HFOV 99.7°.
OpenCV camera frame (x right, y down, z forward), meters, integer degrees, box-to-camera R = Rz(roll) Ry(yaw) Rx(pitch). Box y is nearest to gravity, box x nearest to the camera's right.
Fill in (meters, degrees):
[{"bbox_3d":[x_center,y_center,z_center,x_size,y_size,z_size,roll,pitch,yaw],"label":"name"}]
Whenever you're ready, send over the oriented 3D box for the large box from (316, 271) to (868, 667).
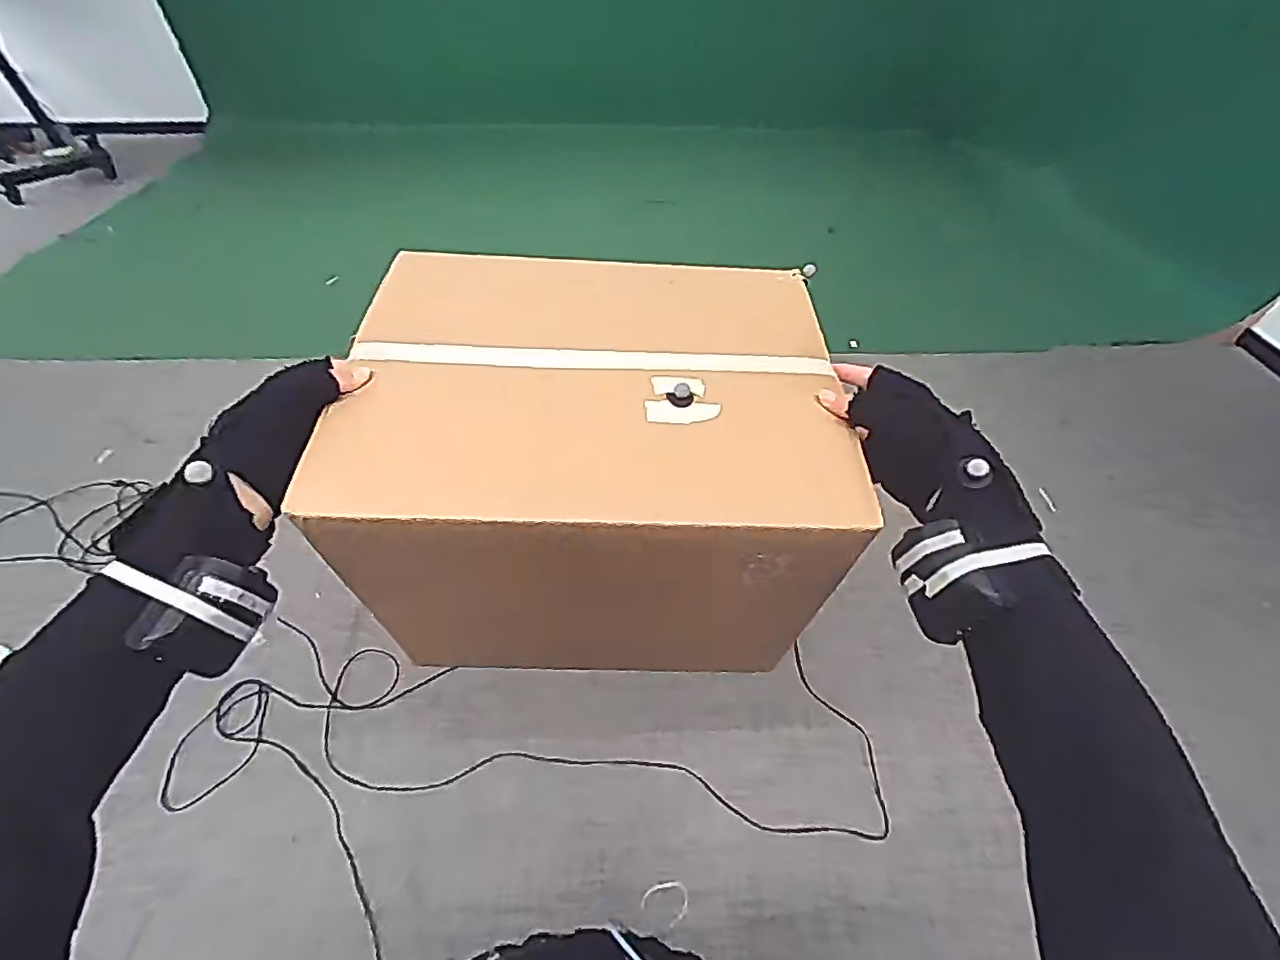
[{"bbox_3d":[-0.042,0.001,0.590,0.408,0.320,0.320,2,53,-3],"label":"large box"}]
